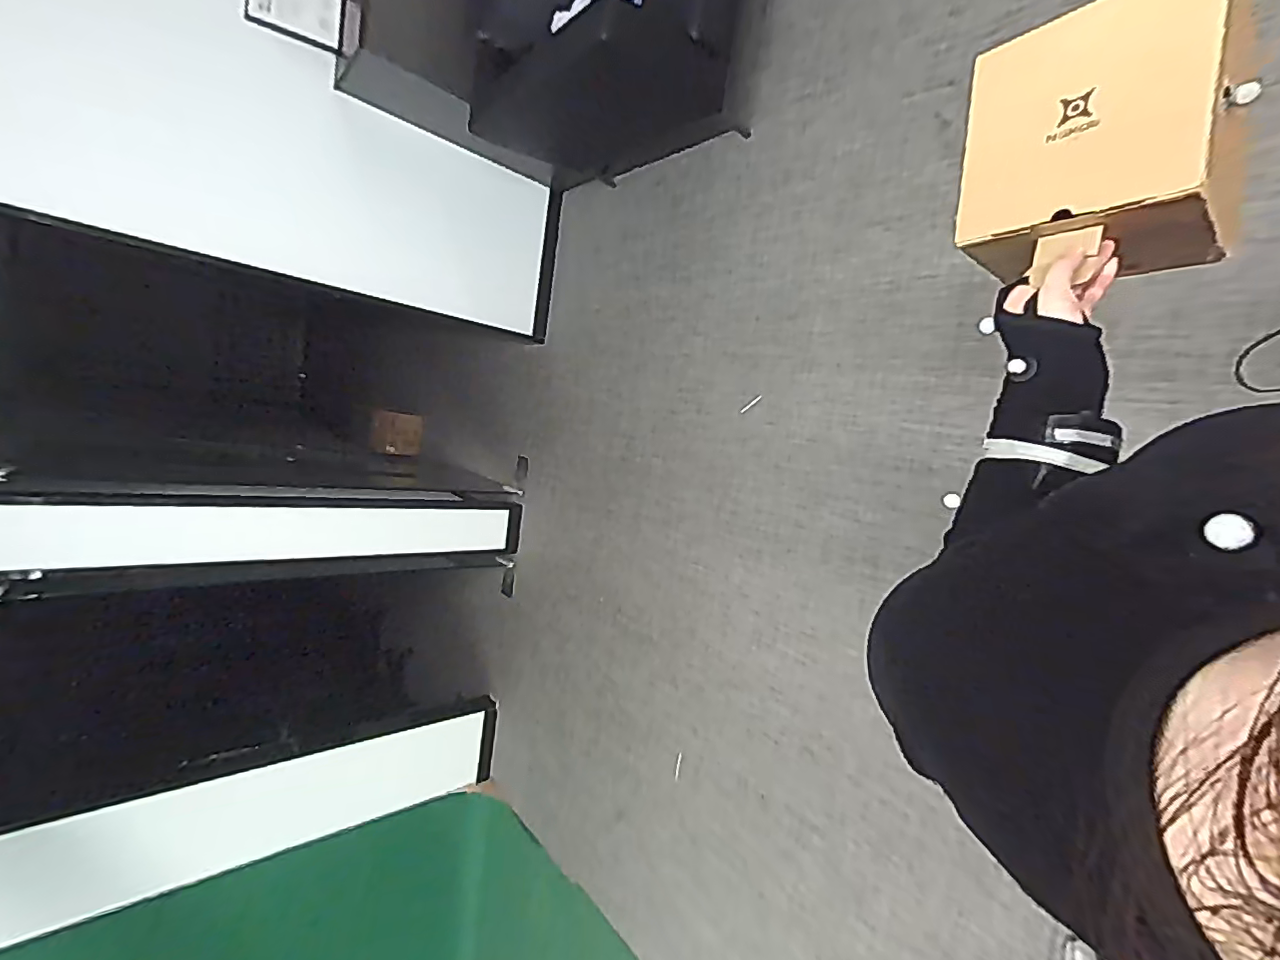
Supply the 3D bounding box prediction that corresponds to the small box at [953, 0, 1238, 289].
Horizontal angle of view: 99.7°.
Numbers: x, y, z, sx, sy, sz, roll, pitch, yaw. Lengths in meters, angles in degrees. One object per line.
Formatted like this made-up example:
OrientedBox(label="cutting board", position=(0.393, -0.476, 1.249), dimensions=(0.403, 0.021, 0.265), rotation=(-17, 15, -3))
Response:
OrientedBox(label="small box", position=(0.417, -0.295, 0.497), dimensions=(0.168, 0.176, 0.179), rotation=(8, 95, 50))
